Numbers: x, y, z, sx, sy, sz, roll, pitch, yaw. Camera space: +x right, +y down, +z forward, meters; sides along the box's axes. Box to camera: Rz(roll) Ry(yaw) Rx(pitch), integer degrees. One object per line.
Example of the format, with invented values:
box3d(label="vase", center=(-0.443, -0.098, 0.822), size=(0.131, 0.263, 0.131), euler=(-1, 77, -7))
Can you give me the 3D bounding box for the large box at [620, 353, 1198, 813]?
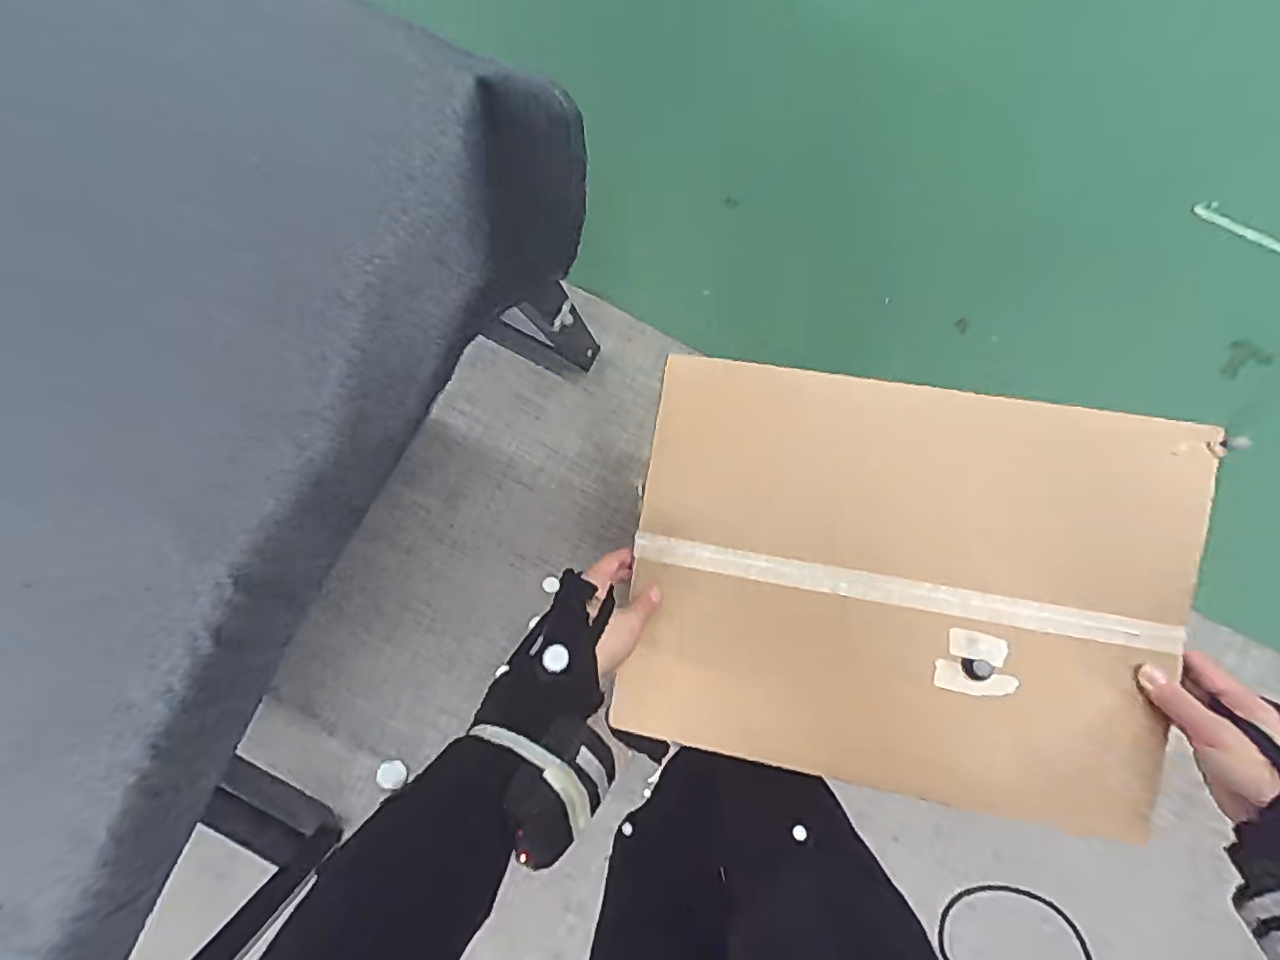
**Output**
box3d(label="large box", center=(0.212, 0.073, 0.569), size=(0.408, 0.320, 0.320), euler=(9, 92, 7))
